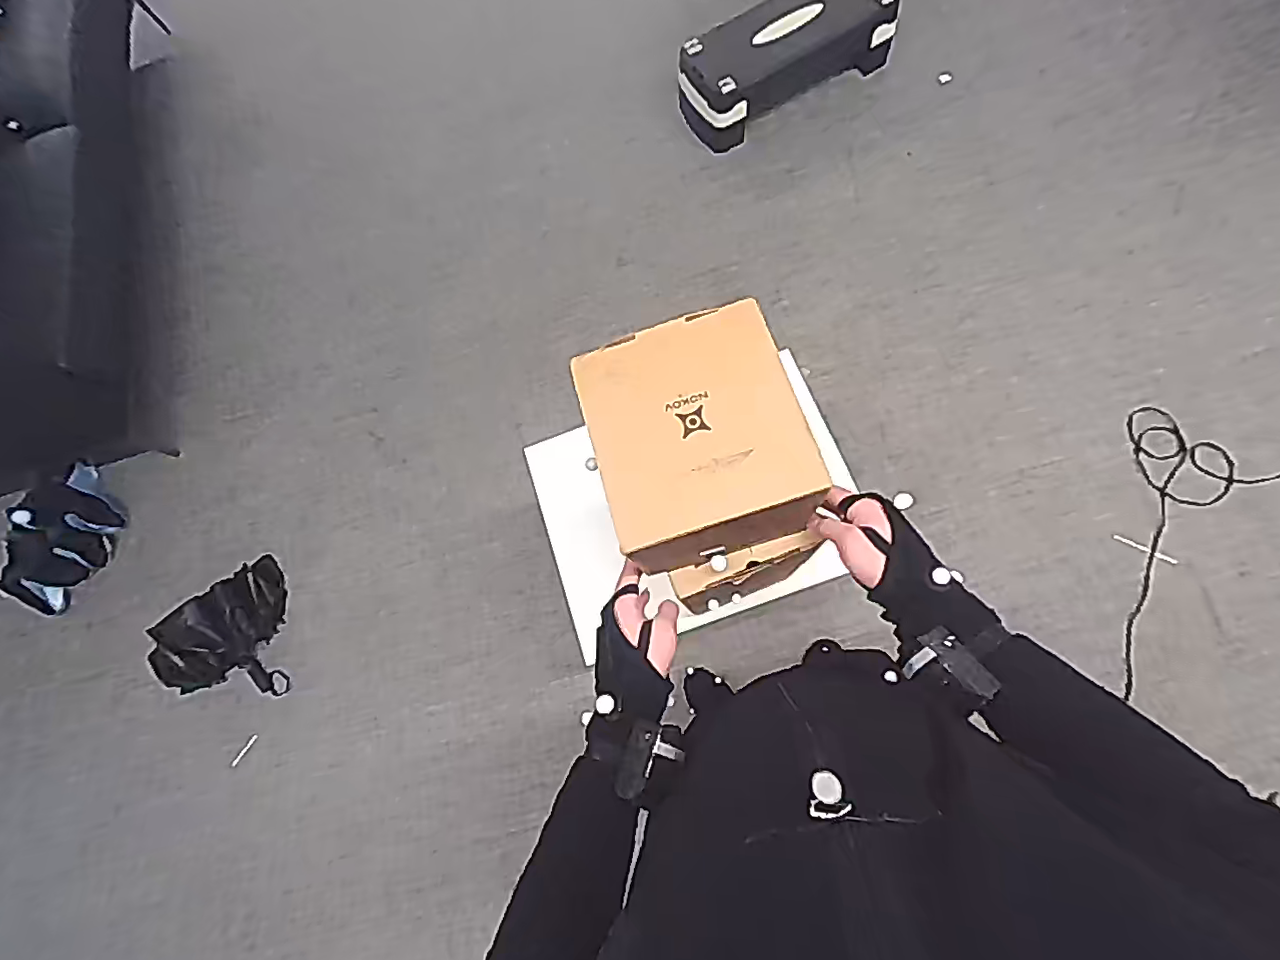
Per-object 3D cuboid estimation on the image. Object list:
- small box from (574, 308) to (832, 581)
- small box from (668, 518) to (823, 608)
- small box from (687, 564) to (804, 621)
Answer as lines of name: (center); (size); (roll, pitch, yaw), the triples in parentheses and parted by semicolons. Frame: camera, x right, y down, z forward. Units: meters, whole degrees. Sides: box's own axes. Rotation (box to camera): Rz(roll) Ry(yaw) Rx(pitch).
small box: (0.053, -0.020, 0.504); (0.168, 0.176, 0.179); (-18, 71, 3)
small box: (0.095, 0.045, 0.649); (0.168, 0.176, 0.179); (-23, 69, 1)
small box: (0.120, 0.096, 0.804); (0.168, 0.176, 0.179); (-24, 70, 1)
